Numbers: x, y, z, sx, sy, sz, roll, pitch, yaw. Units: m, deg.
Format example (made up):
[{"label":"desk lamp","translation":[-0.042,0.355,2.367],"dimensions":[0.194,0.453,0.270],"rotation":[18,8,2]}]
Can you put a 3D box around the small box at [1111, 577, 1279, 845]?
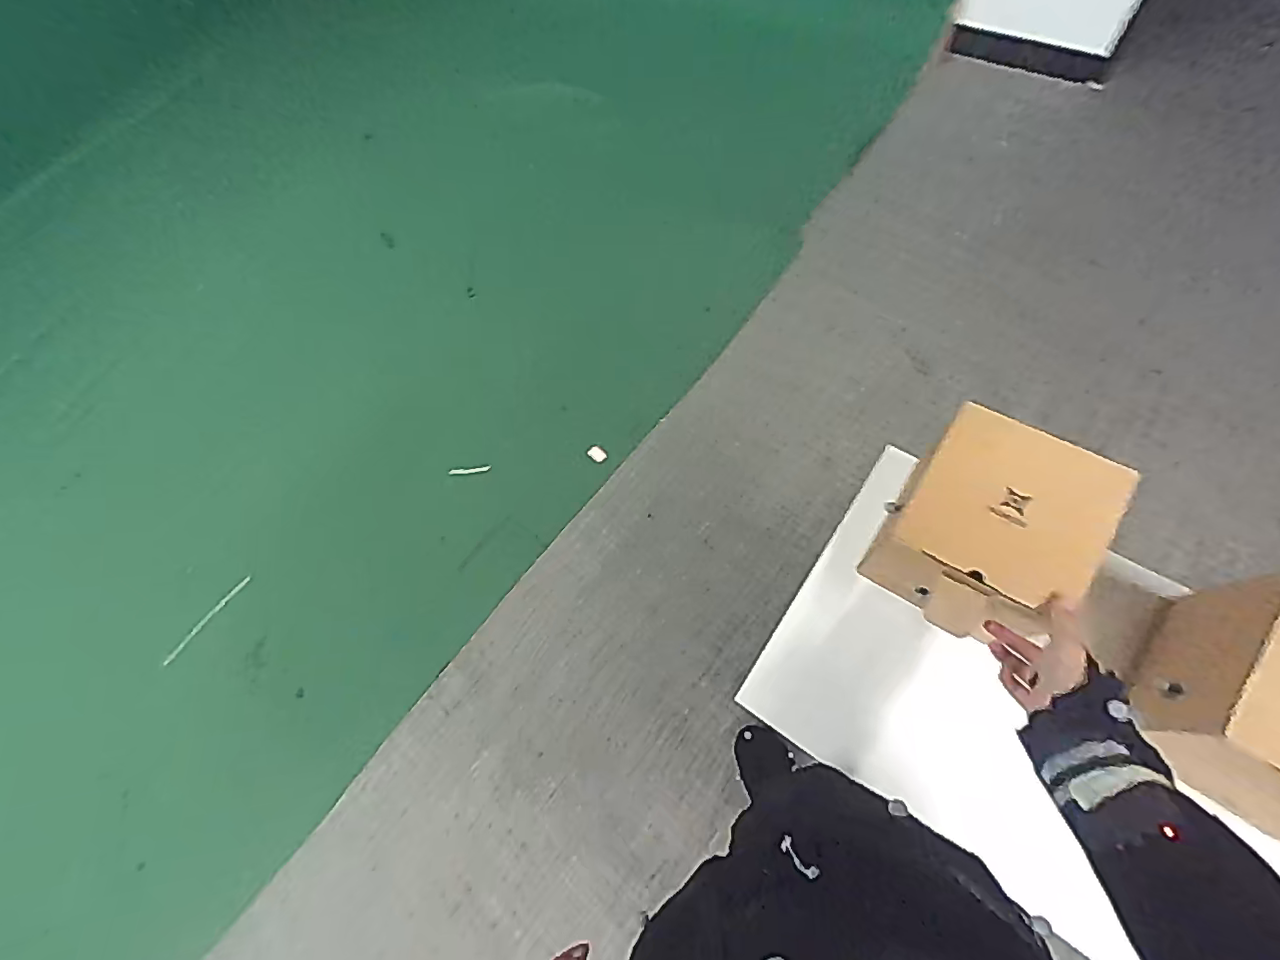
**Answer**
[{"label":"small box","translation":[0.586,0.216,0.488],"dimensions":[0.168,0.176,0.179],"rotation":[34,77,20]}]

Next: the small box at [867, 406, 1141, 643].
[{"label":"small box","translation":[0.374,0.057,0.592],"dimensions":[0.168,0.176,0.179],"rotation":[31,78,19]}]
